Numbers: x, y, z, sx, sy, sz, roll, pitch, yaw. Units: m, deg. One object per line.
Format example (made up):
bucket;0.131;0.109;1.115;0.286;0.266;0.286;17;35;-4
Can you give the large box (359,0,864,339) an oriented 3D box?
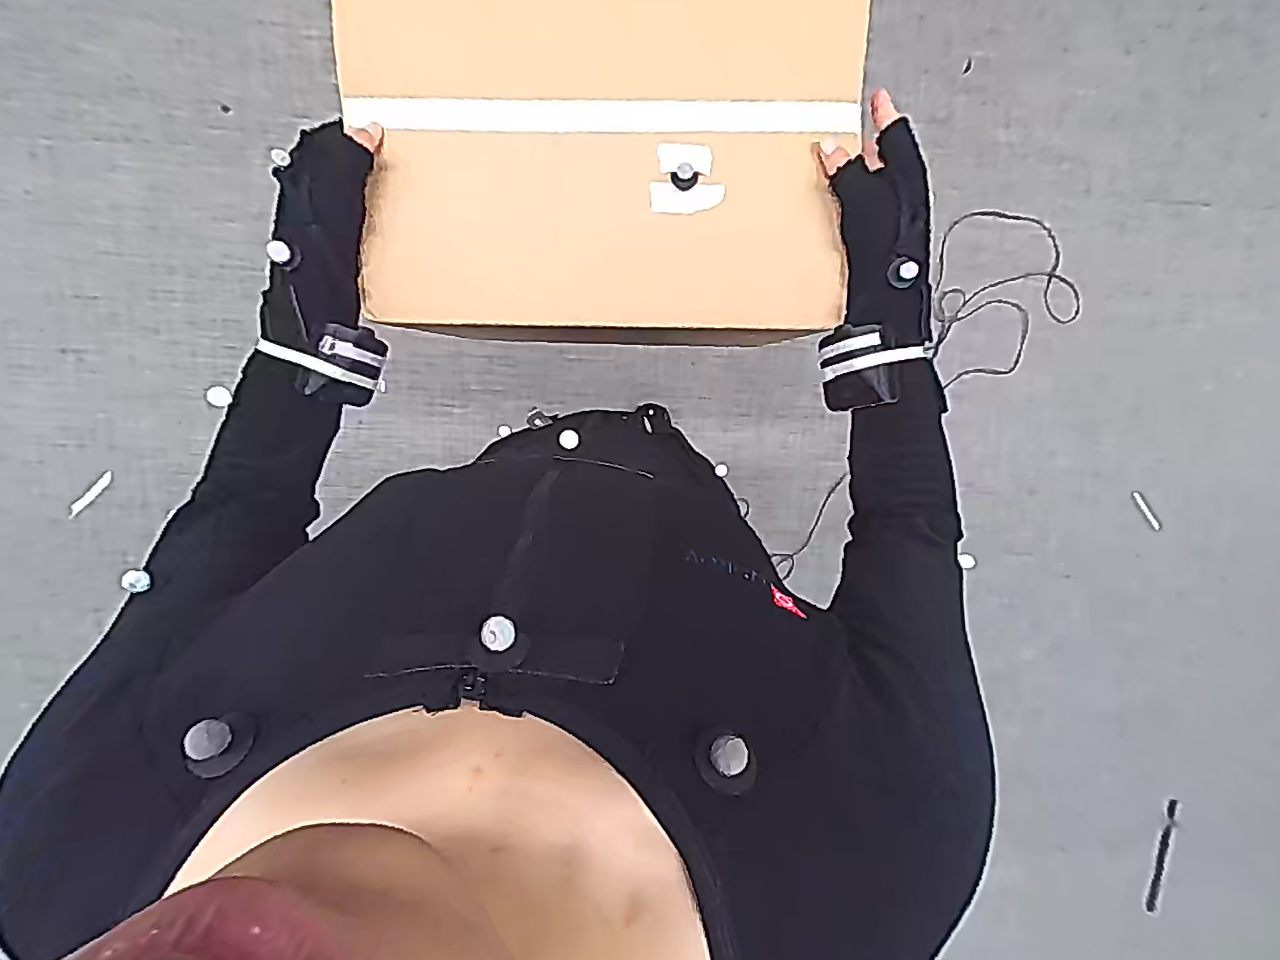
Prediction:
large box;-0.025;-0.323;0.584;0.408;0.320;0.320;1;102;0
